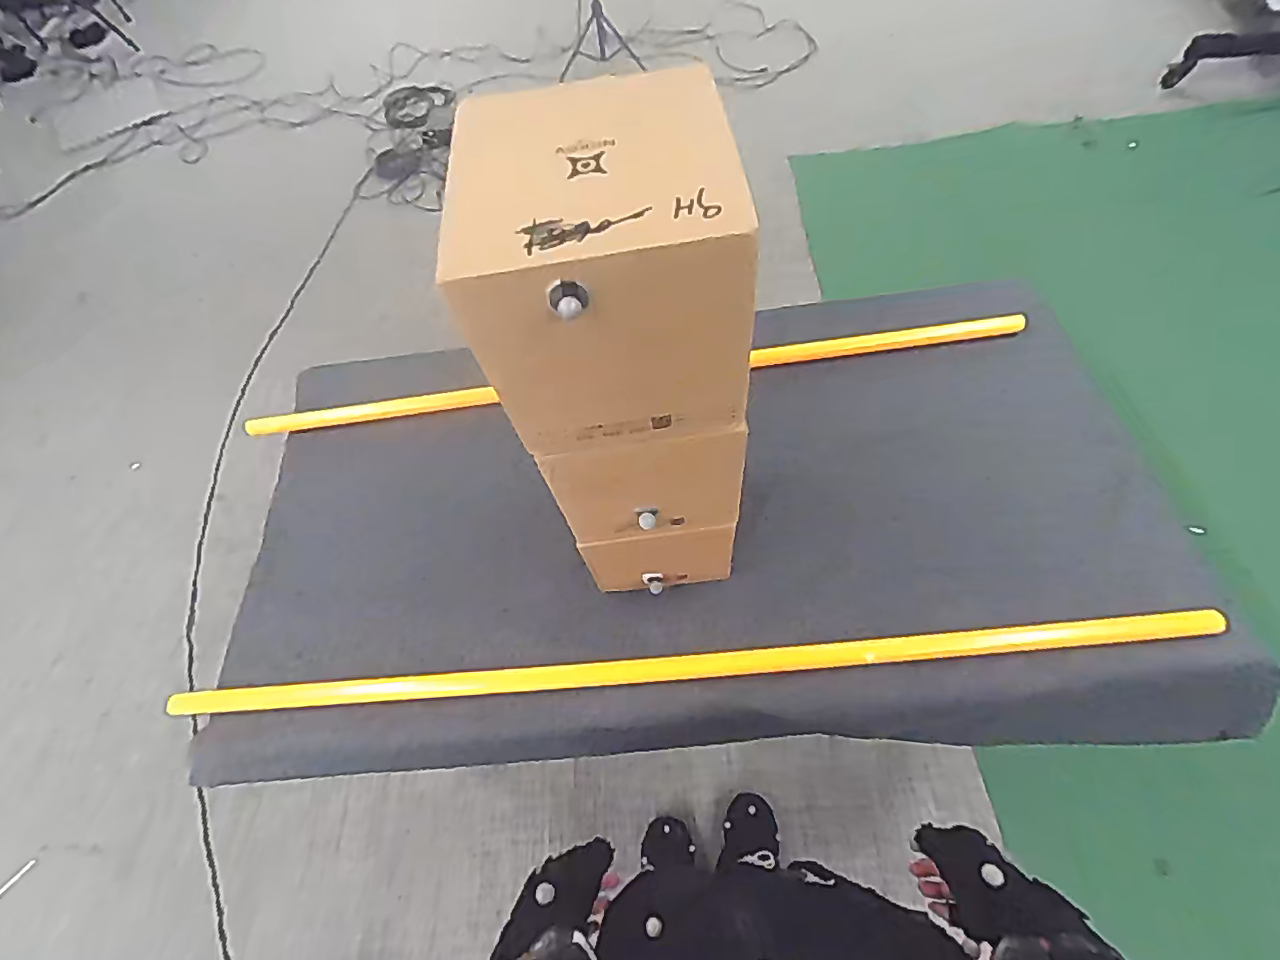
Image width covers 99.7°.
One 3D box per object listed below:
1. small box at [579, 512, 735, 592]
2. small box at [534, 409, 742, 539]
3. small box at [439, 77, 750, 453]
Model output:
[{"bbox_3d":[0.018,0.022,0.669,0.168,0.176,0.179,-9,61,3],"label":"small box"},{"bbox_3d":[0.001,-0.061,0.527,0.168,0.176,0.179,-8,60,4],"label":"small box"},{"bbox_3d":[-0.021,-0.143,0.388,0.168,0.176,0.179,-8,59,4],"label":"small box"}]
